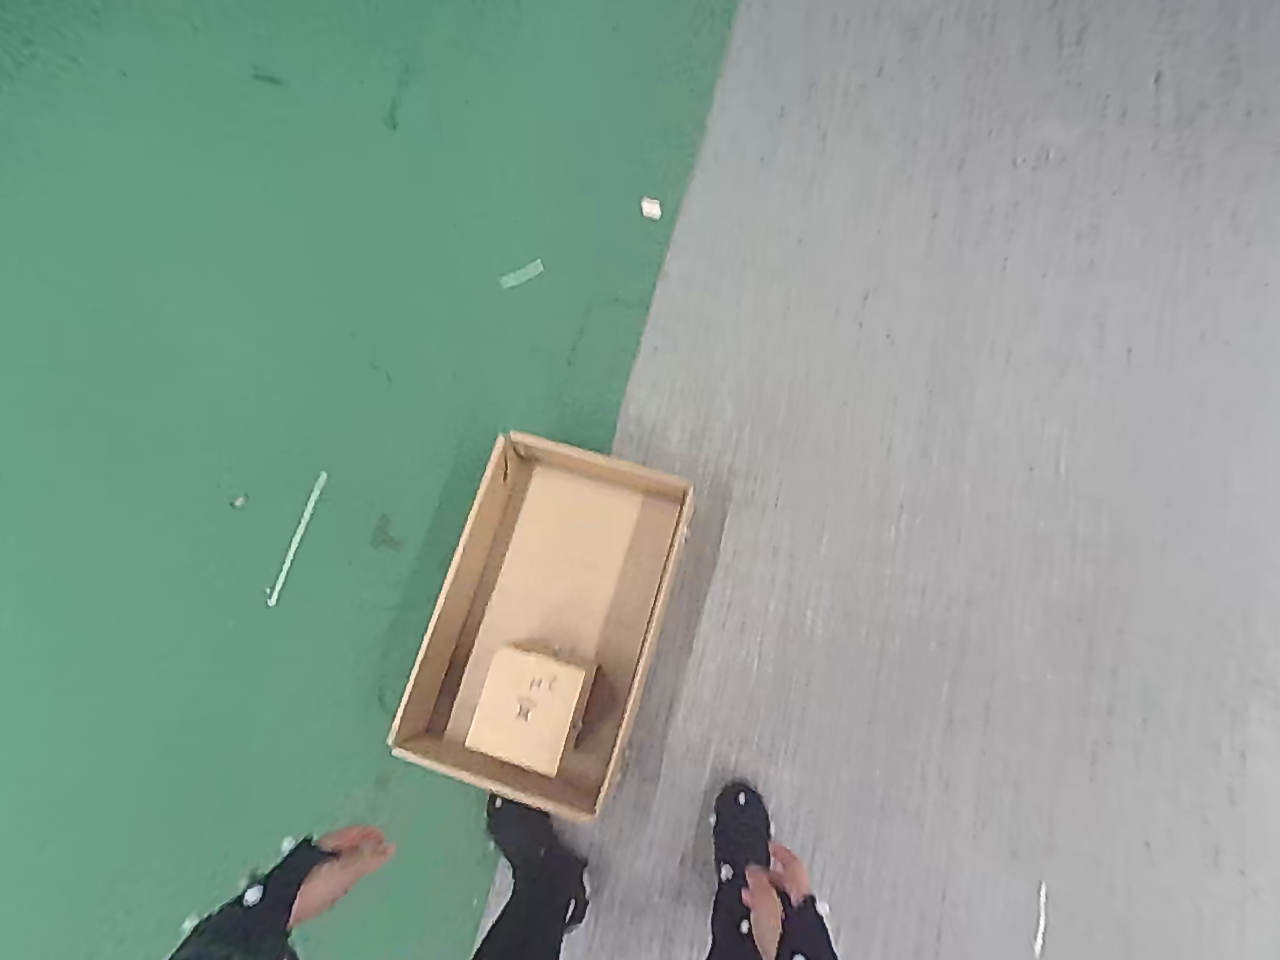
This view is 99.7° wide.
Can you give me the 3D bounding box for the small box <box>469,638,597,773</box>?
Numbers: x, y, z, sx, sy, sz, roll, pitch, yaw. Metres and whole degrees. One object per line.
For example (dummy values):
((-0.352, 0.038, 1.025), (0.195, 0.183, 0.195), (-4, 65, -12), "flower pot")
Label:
((-0.184, 0.401, 0.994), (0.168, 0.176, 0.179), (15, 76, 6), "small box")
